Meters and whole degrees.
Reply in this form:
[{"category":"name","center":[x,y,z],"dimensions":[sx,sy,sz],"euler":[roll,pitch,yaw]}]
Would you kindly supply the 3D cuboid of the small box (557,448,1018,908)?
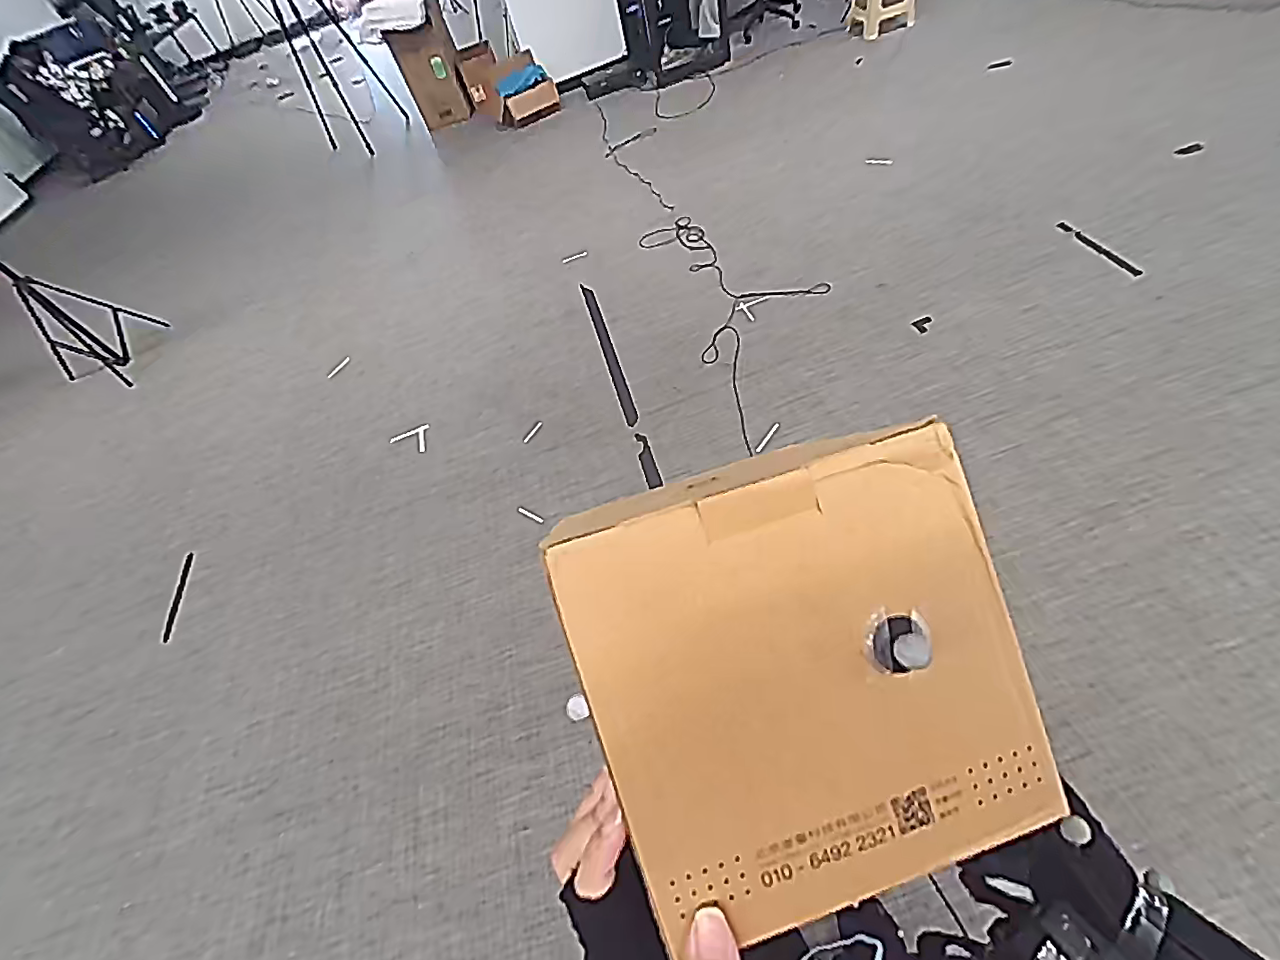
[{"category":"small box","center":[0.063,0.091,0.305],"dimensions":[0.168,0.179,0.176],"euler":[-18,91,-4]}]
